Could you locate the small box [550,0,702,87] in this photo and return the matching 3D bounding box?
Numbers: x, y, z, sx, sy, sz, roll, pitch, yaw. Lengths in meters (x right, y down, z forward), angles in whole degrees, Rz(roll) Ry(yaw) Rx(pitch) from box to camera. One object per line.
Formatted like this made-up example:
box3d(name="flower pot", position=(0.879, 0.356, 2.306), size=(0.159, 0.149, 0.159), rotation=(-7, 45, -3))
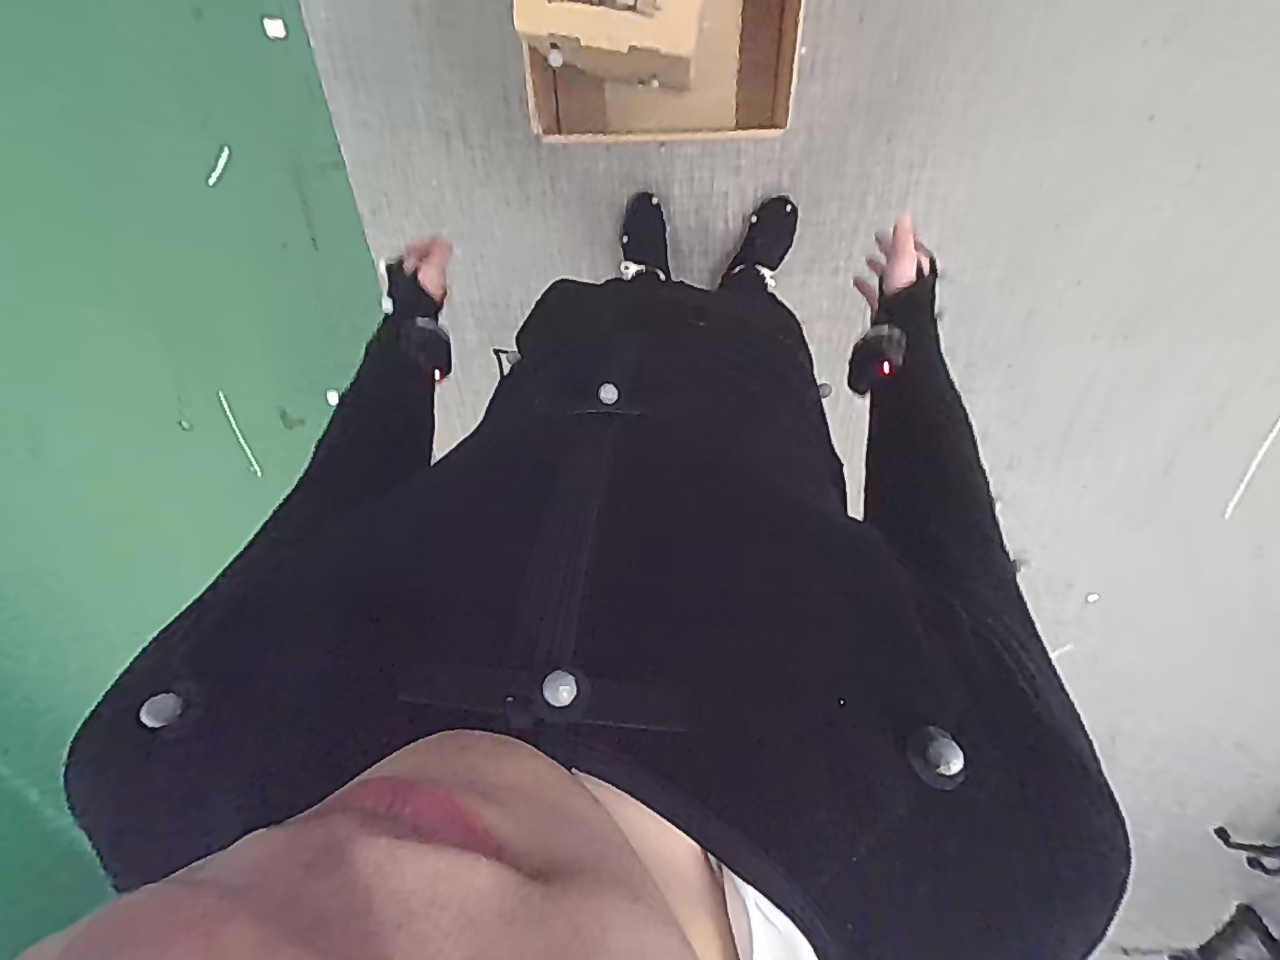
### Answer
box3d(name="small box", position=(-0.006, -0.601, 0.656), size=(0.168, 0.176, 0.179), rotation=(9, 120, -2))
